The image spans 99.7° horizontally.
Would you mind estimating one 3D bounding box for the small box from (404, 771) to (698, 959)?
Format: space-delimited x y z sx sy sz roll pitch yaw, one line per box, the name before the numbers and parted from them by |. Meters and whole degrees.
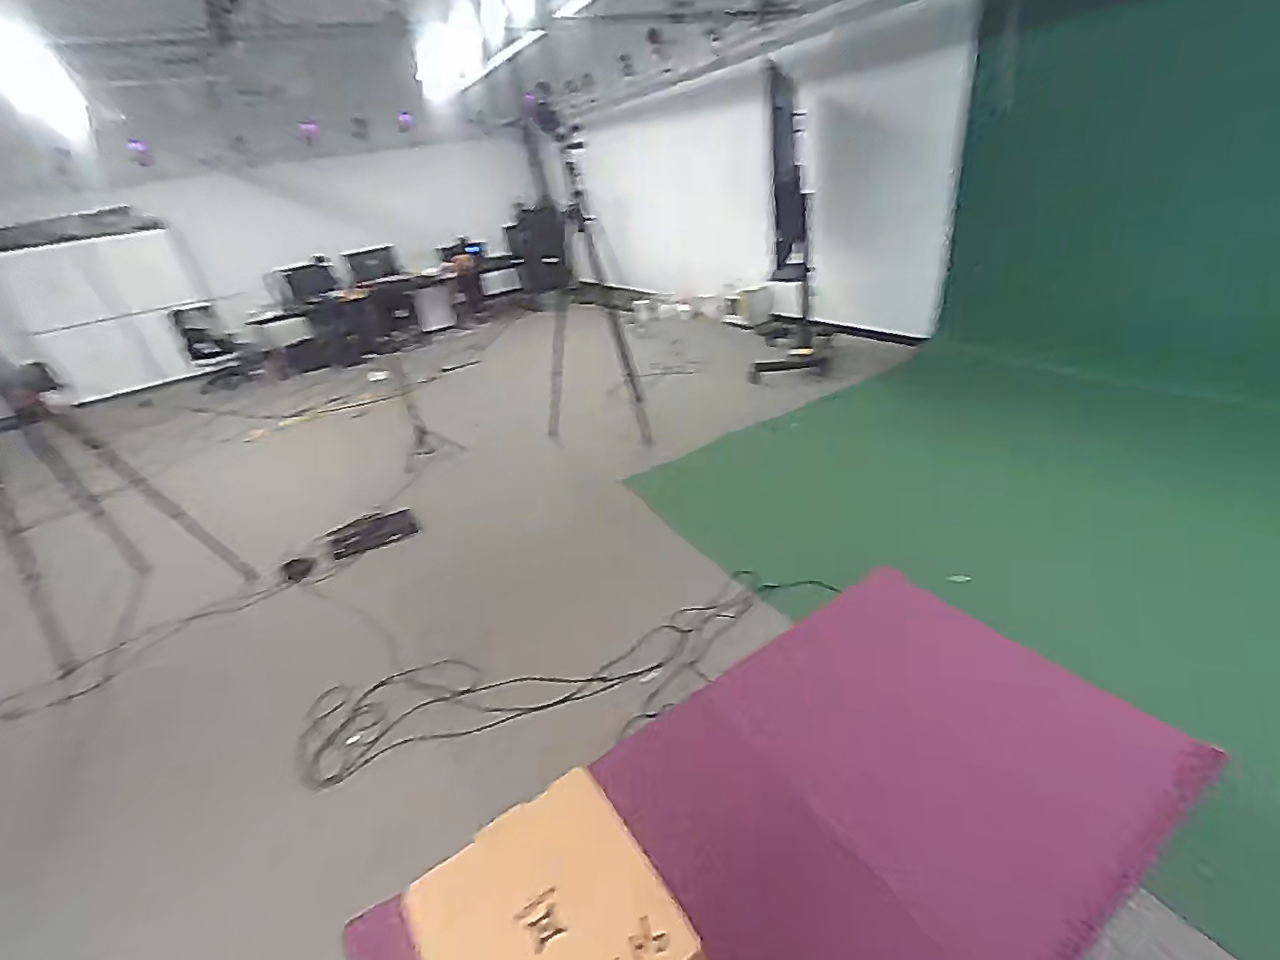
small box | -0.062 0.392 0.434 0.168 0.176 0.179 -26 32 -25
